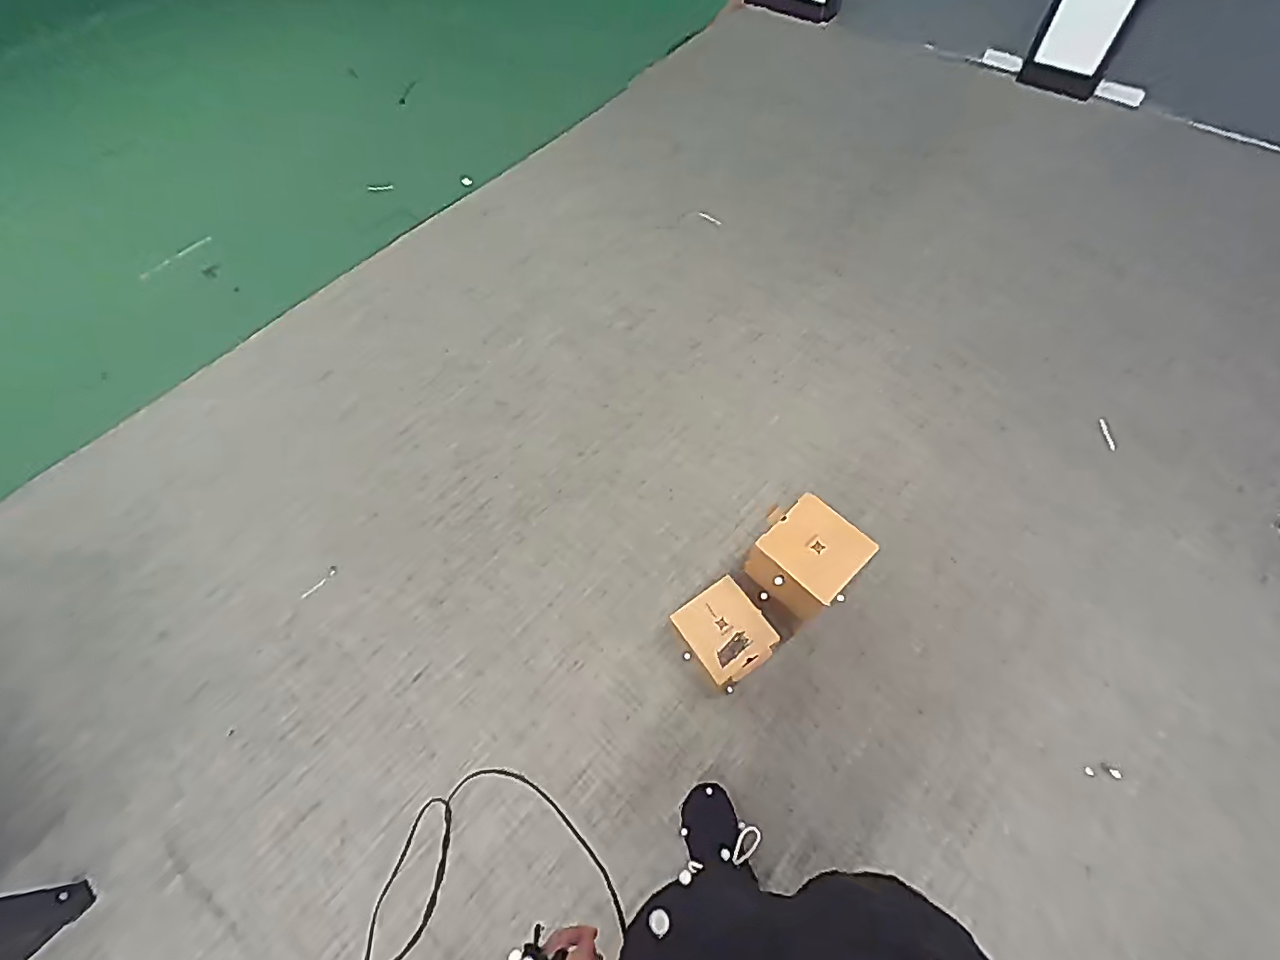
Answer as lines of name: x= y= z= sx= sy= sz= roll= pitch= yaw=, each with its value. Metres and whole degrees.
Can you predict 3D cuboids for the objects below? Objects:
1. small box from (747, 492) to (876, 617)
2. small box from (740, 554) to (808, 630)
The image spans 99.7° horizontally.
small box: x=0.341 y=0.162 z=1.111 sx=0.168 sy=0.176 sz=0.179 roll=-41 pitch=66 yaw=-16
small box: x=0.352 y=0.222 z=1.263 sx=0.168 sy=0.176 sz=0.179 roll=-41 pitch=65 yaw=-16
